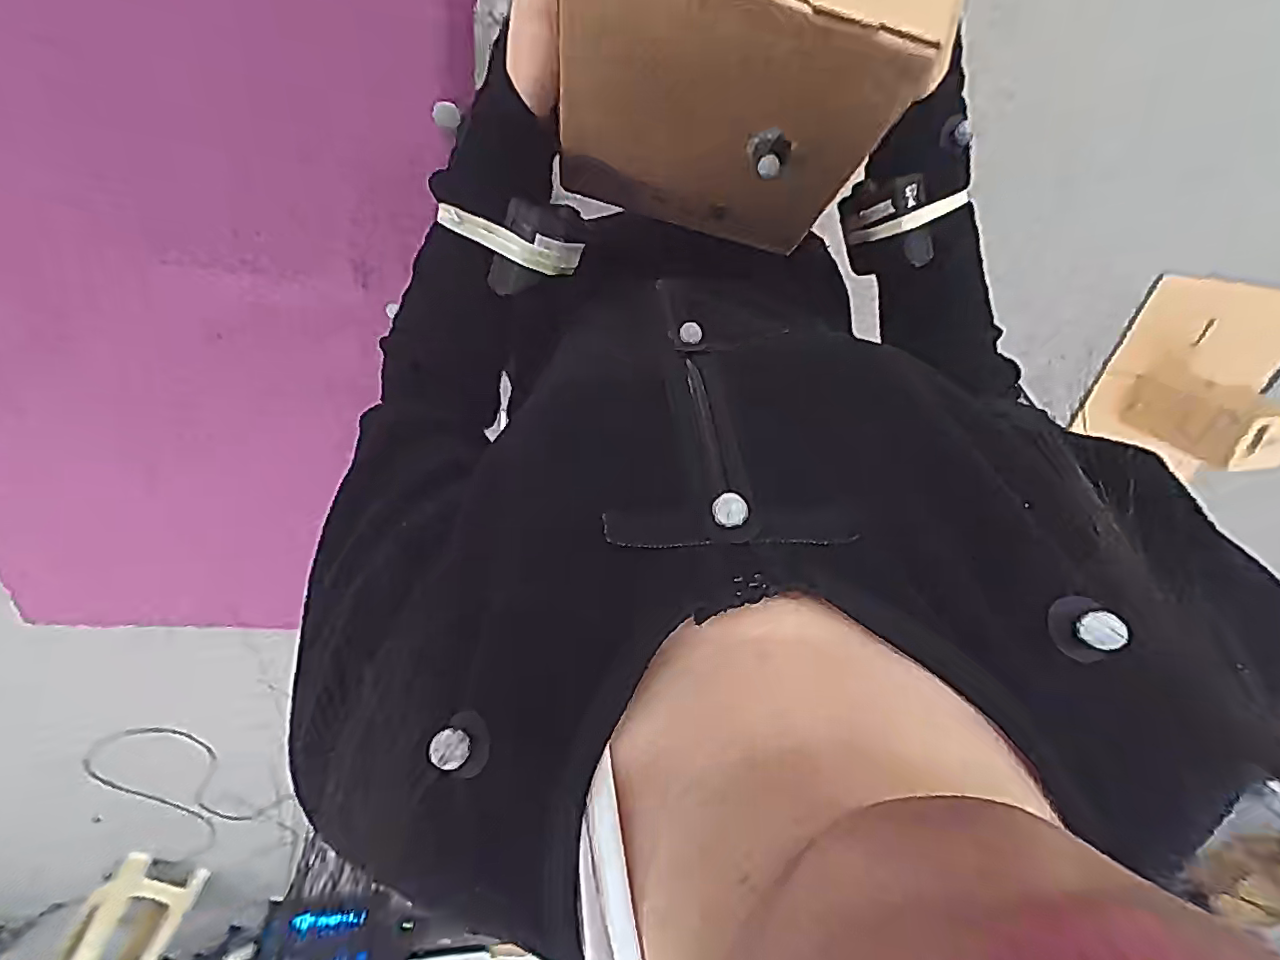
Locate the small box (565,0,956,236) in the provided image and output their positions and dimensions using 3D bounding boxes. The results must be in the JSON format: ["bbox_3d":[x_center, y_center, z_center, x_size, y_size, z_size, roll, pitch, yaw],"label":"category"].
[{"bbox_3d":[0.058,-0.274,0.303,0.168,0.176,0.179,15,80,-6],"label":"small box"}]

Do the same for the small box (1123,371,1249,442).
[{"bbox_3d":[1.656,-0.228,1.651,0.179,0.176,0.168,-4,120,-5],"label":"small box"}]
